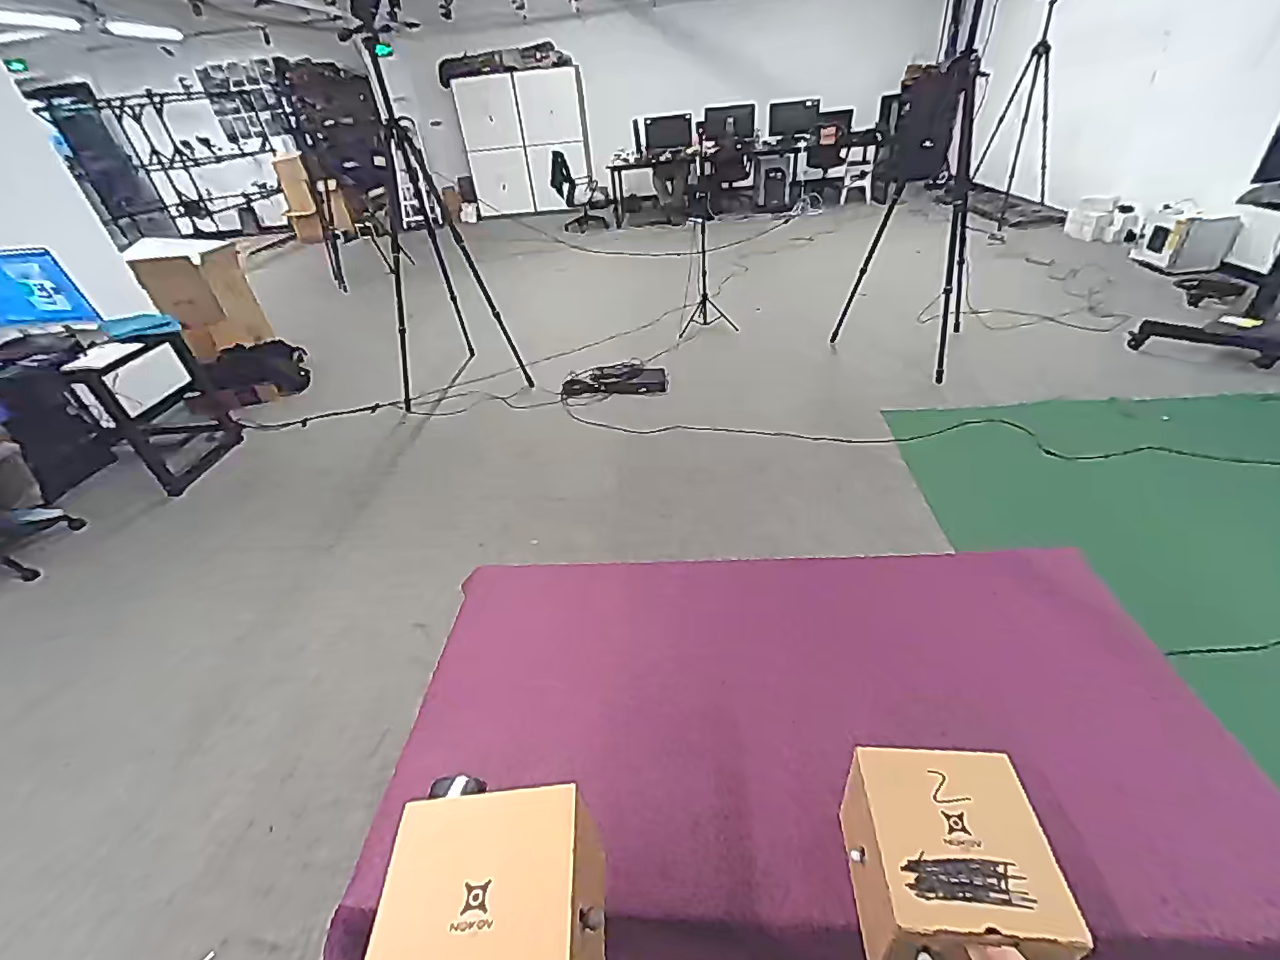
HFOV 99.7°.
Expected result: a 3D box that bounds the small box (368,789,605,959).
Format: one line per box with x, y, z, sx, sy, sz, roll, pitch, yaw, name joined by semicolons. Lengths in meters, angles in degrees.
-0.125;0.413;0.489;0.168;0.176;0.179;-6;38;1;small box
